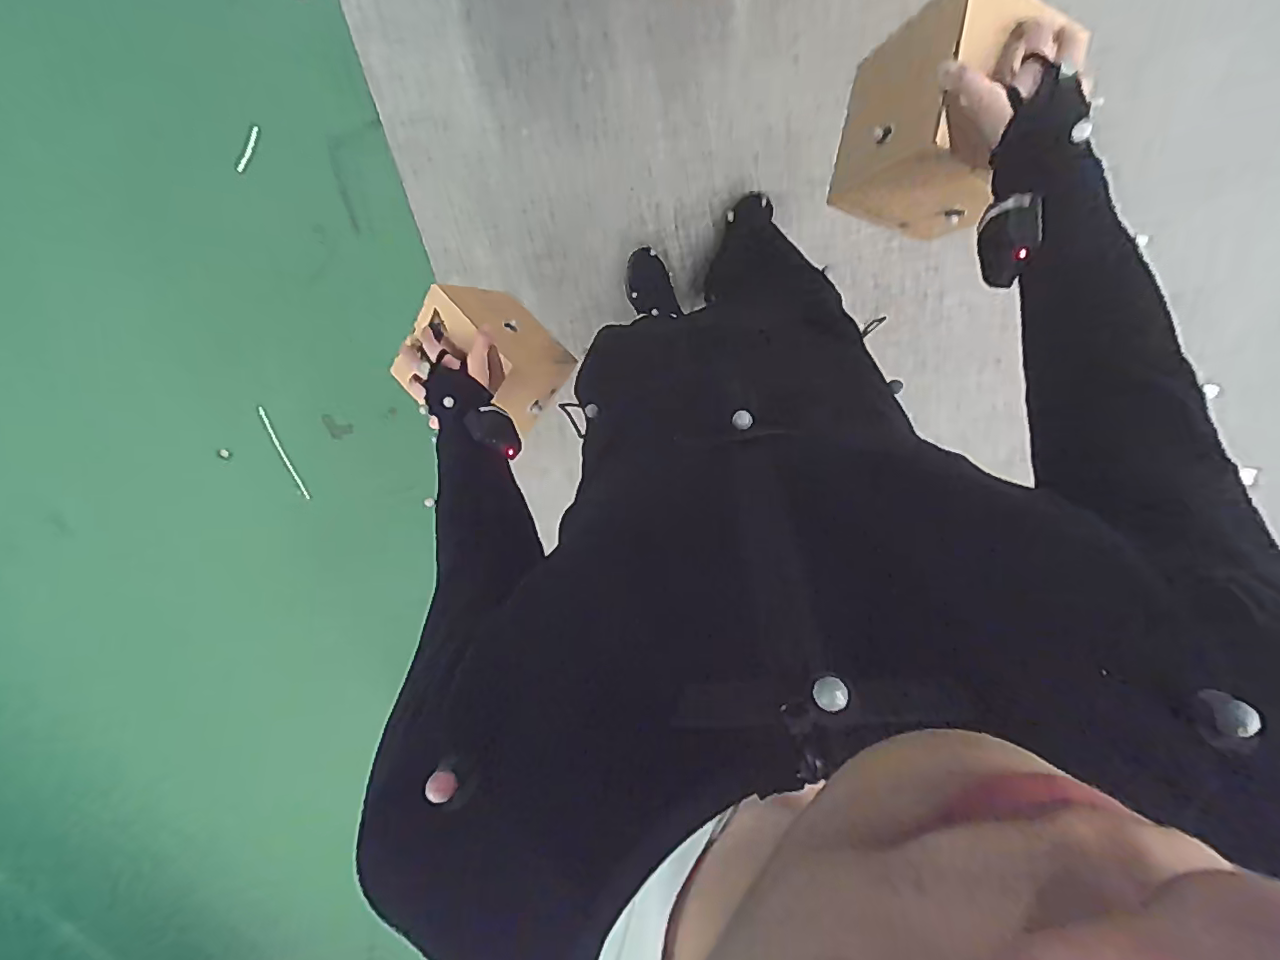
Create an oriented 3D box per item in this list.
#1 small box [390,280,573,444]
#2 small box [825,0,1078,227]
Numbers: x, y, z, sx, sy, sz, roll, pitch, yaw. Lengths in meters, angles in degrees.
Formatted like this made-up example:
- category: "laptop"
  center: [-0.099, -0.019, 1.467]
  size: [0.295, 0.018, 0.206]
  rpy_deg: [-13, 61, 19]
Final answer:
- category: "small box"
  center: [-0.240, -0.181, 0.842]
  size: [0.179, 0.176, 0.168]
  rpy_deg: [45, 118, 9]
- category: "small box"
  center: [0.338, -0.418, 0.618]
  size: [0.168, 0.176, 0.179]
  rpy_deg: [10, 94, -20]
